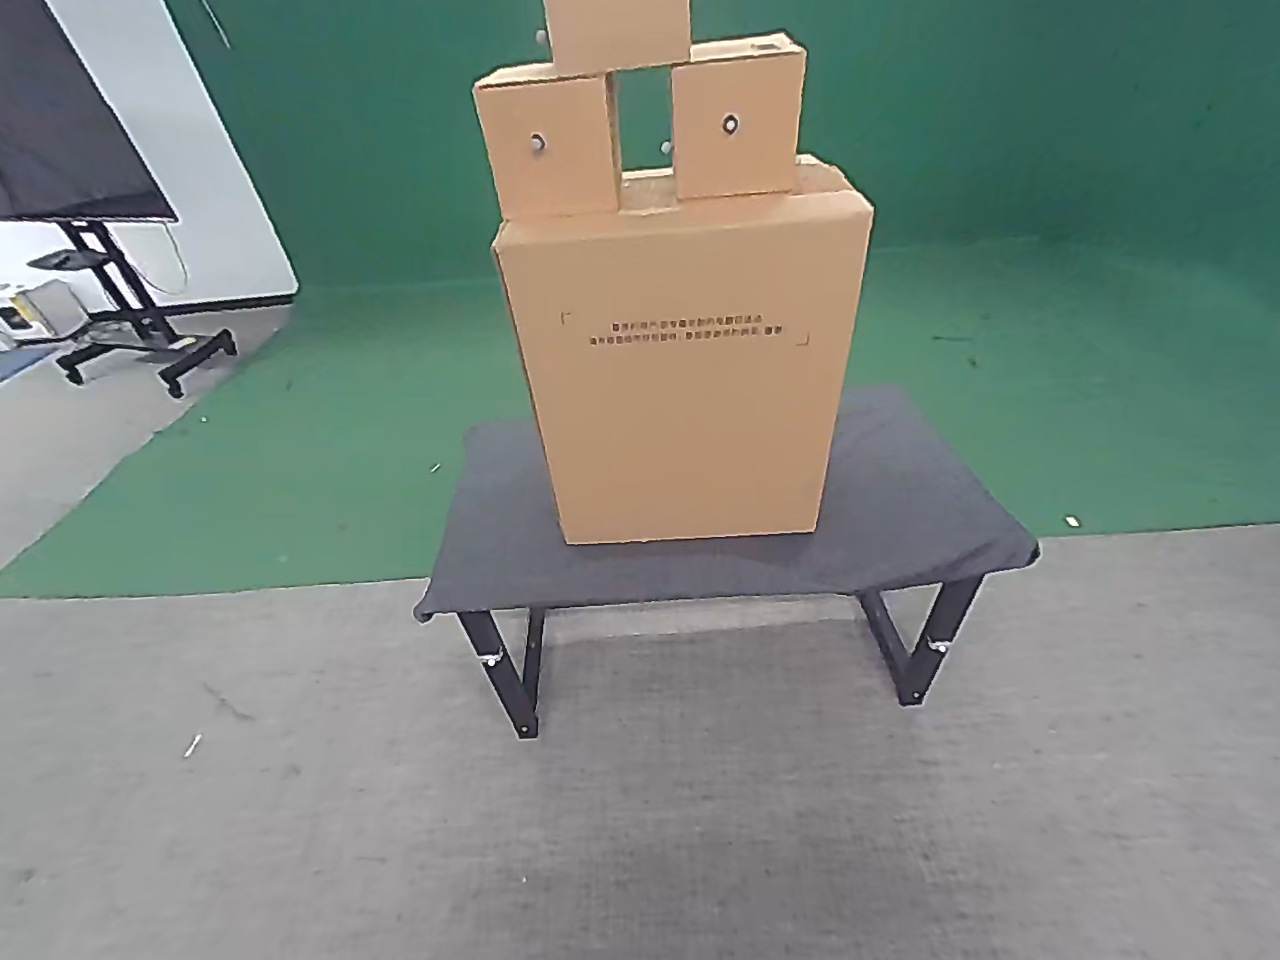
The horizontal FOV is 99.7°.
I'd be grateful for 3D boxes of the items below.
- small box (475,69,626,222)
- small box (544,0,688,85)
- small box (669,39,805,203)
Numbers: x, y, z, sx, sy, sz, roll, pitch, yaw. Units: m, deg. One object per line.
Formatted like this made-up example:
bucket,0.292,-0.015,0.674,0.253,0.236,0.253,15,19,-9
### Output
small box,-0.121,-0.501,0.811,0.179,0.176,0.168,-3,44,4
small box,-0.037,-0.630,0.698,0.179,0.176,0.168,-11,42,-3
small box,0.135,-0.534,0.810,0.179,0.176,0.168,-3,44,5
